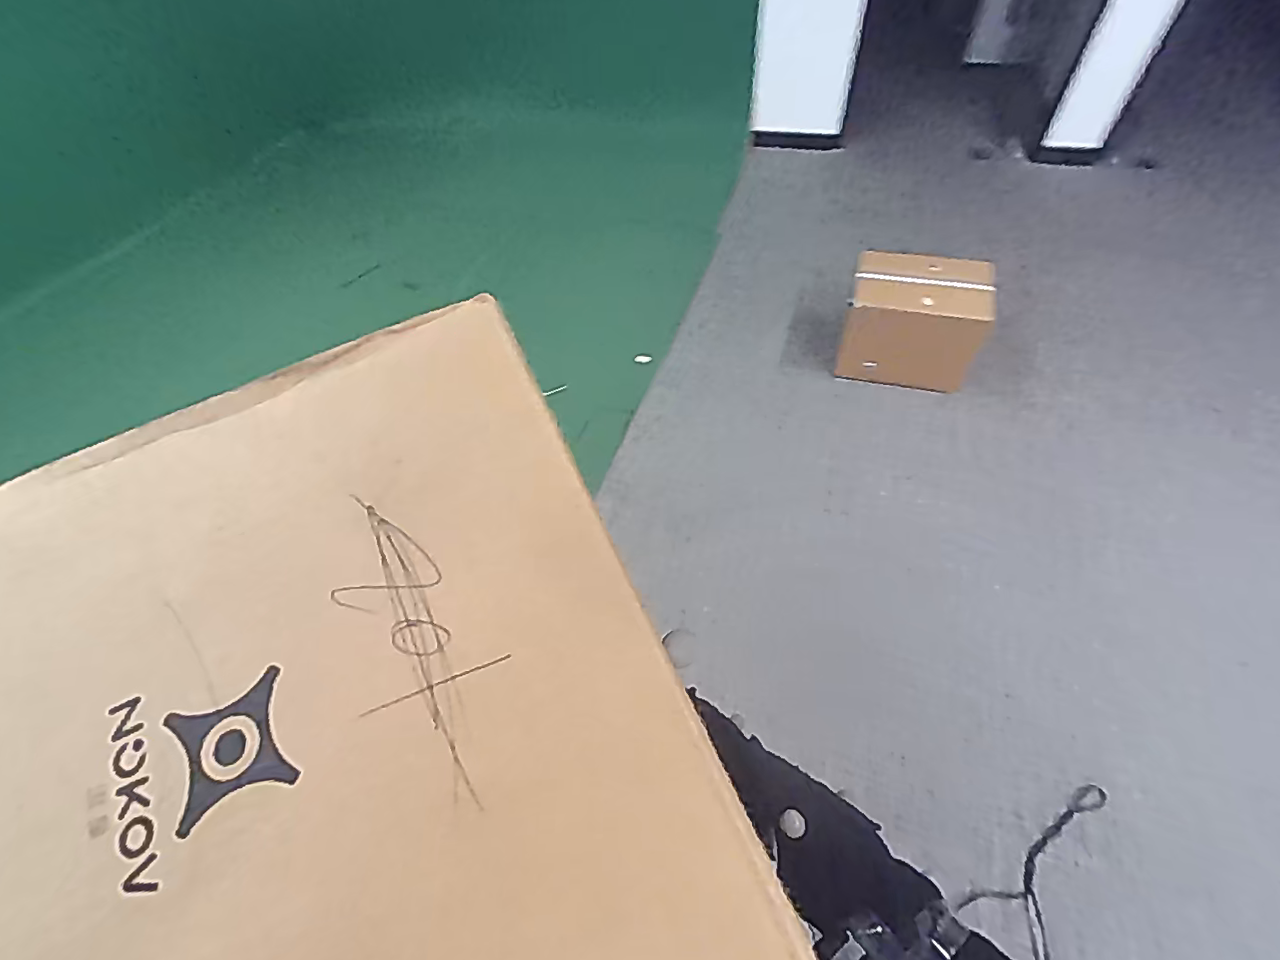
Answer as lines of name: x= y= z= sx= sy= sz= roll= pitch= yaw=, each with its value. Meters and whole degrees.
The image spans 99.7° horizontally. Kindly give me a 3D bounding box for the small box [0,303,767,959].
small box: x=-0.082 y=0.082 z=0.186 sx=0.179 sy=0.176 sz=0.168 roll=-24 pitch=69 yaw=-7
